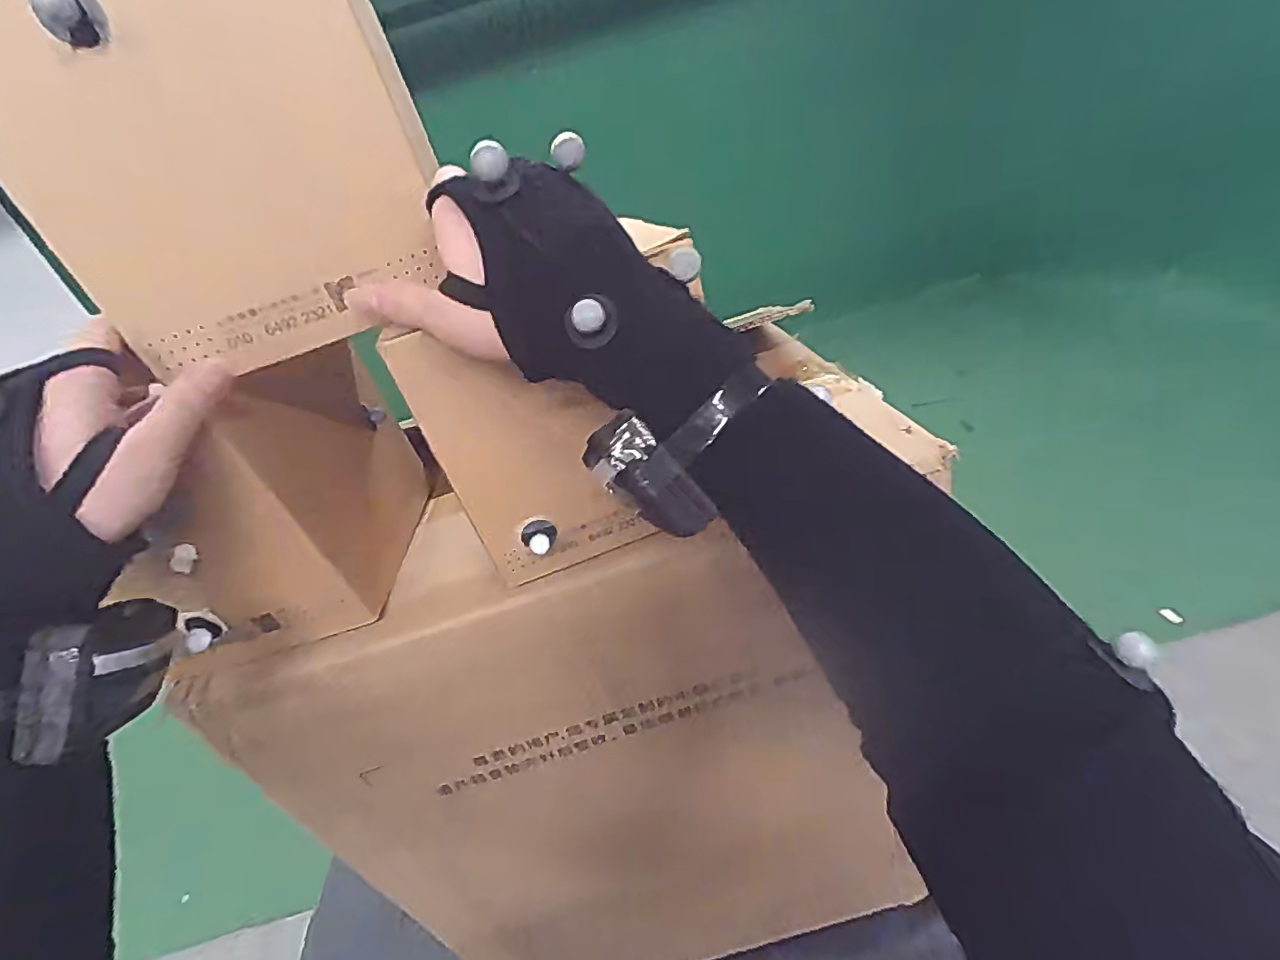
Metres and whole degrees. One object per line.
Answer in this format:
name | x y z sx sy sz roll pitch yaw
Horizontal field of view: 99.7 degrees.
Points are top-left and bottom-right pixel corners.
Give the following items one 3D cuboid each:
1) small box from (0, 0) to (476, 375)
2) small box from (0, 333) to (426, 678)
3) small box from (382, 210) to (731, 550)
small box | -0.207 -0.179 0.313 0.168 0.176 0.179 -22 32 -5
small box | -0.276 0.003 0.383 0.168 0.176 0.179 -20 33 2
small box | -0.051 -0.071 0.380 0.168 0.176 0.179 -21 31 -6
